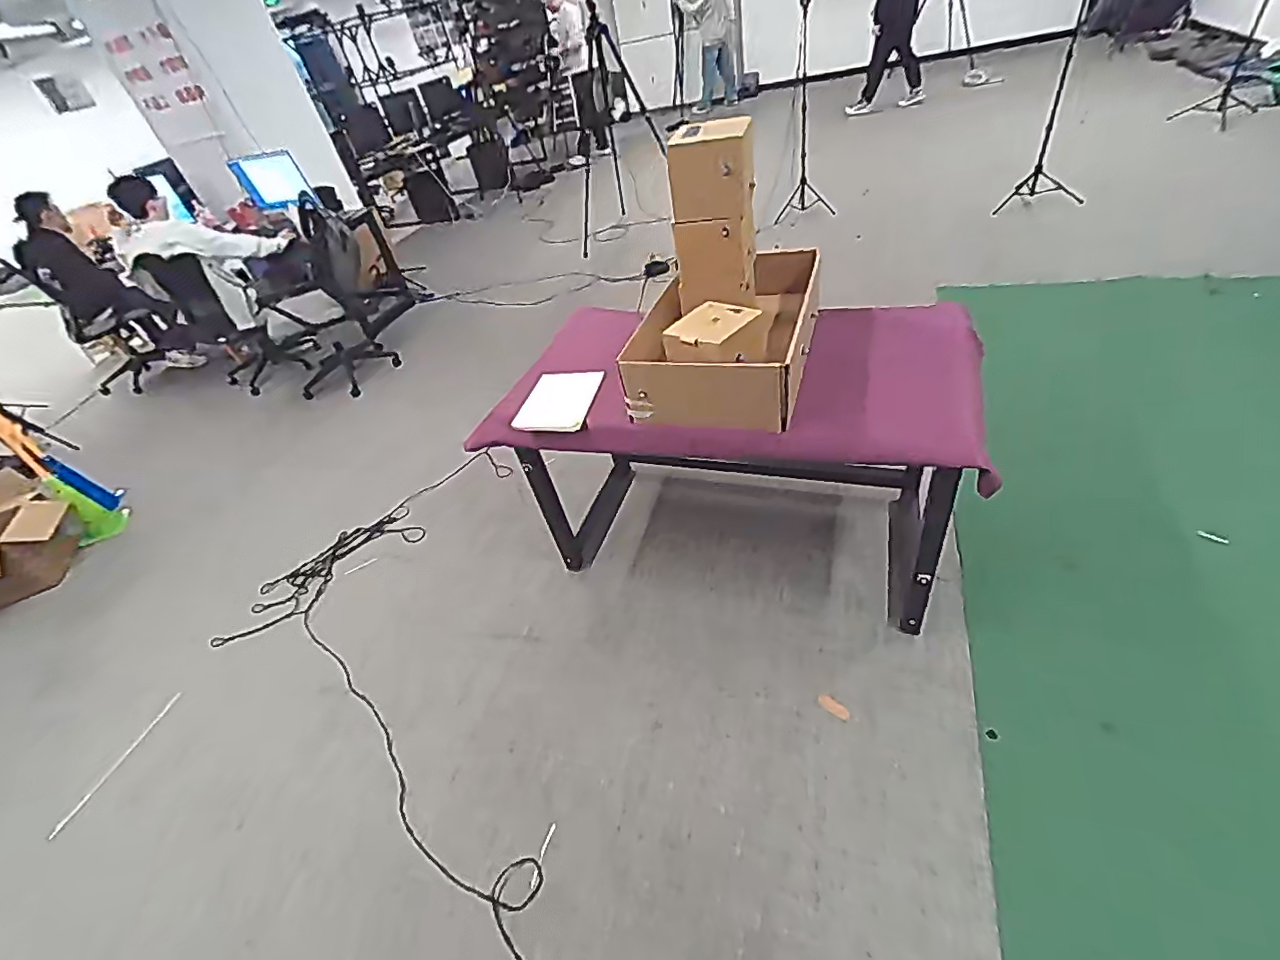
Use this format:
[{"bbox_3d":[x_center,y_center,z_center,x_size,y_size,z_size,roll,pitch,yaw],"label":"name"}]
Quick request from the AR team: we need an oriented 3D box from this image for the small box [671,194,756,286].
[{"bbox_3d":[0.197,-0.615,1.399,0.179,0.176,0.168,5,46,20],"label":"small box"}]

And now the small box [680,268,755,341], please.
[{"bbox_3d":[0.225,-0.502,1.511,0.168,0.176,0.179,6,47,22],"label":"small box"}]
